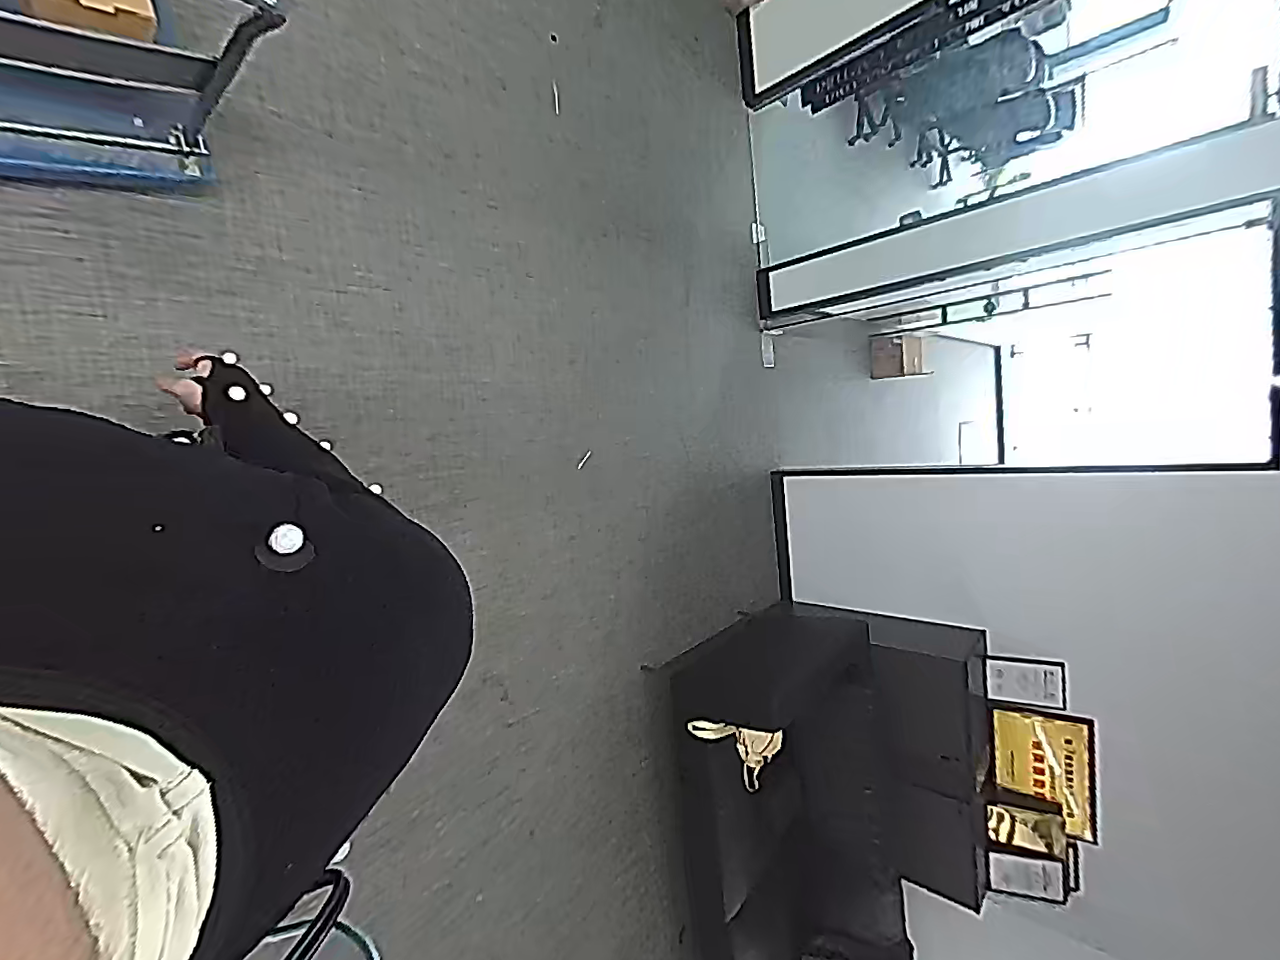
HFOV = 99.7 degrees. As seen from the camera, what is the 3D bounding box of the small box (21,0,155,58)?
[{"bbox_3d":[-1.035,-0.934,0.992,0.168,0.176,0.179,-22,107,-45],"label":"small box"}]
